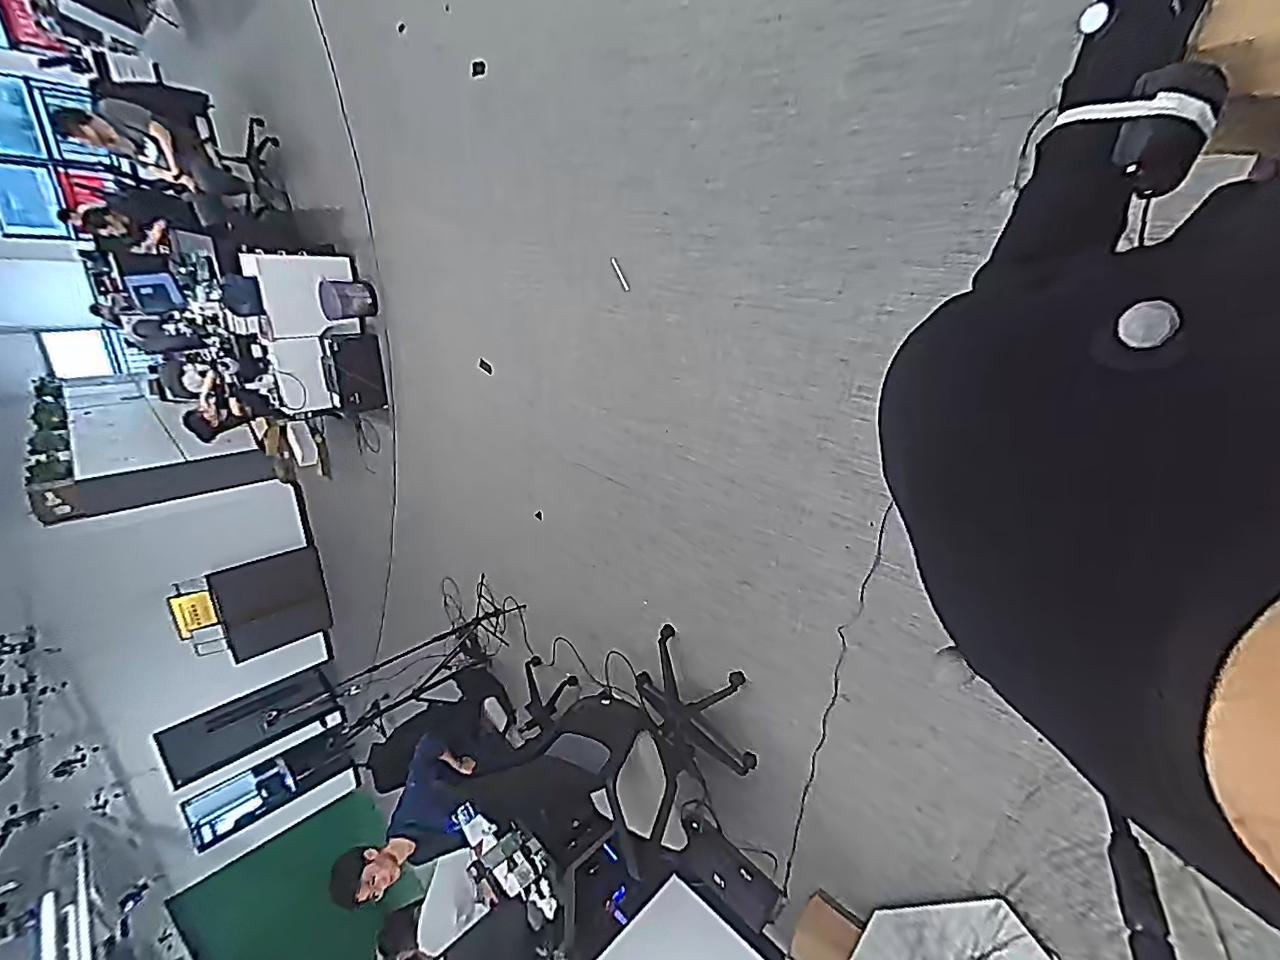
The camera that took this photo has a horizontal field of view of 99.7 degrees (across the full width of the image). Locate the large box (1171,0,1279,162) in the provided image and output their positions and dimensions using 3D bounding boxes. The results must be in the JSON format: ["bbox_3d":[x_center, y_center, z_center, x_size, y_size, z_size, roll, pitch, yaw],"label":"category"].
[{"bbox_3d":[0.639,-0.377,0.313,0.408,0.320,0.320,27,125,35],"label":"large box"}]
